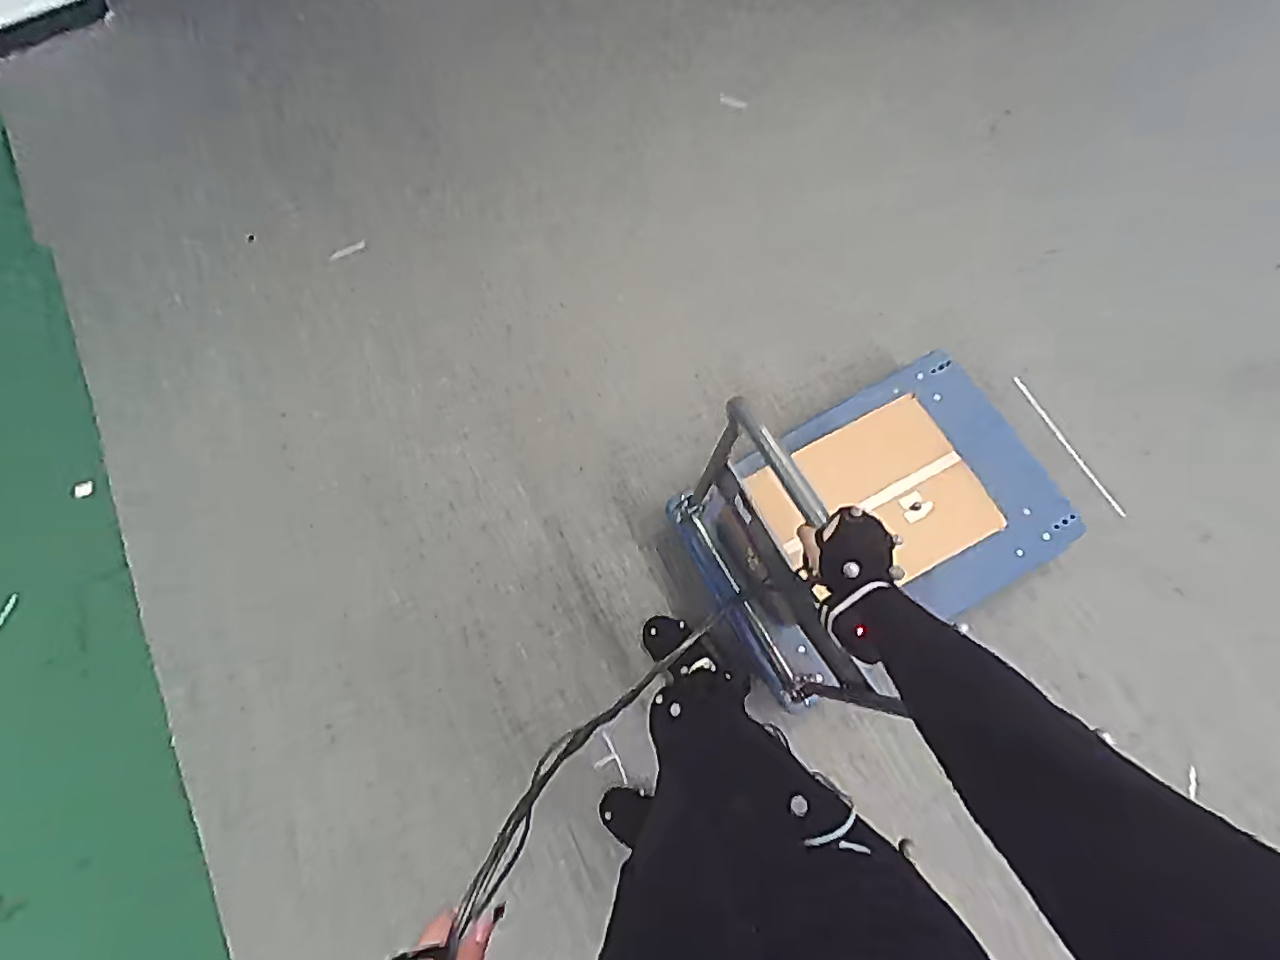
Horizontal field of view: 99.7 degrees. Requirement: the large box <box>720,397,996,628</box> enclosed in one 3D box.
[{"bbox_3d":[0.437,0.090,1.184,0.408,0.320,0.320,-26,76,-7],"label":"large box"}]
